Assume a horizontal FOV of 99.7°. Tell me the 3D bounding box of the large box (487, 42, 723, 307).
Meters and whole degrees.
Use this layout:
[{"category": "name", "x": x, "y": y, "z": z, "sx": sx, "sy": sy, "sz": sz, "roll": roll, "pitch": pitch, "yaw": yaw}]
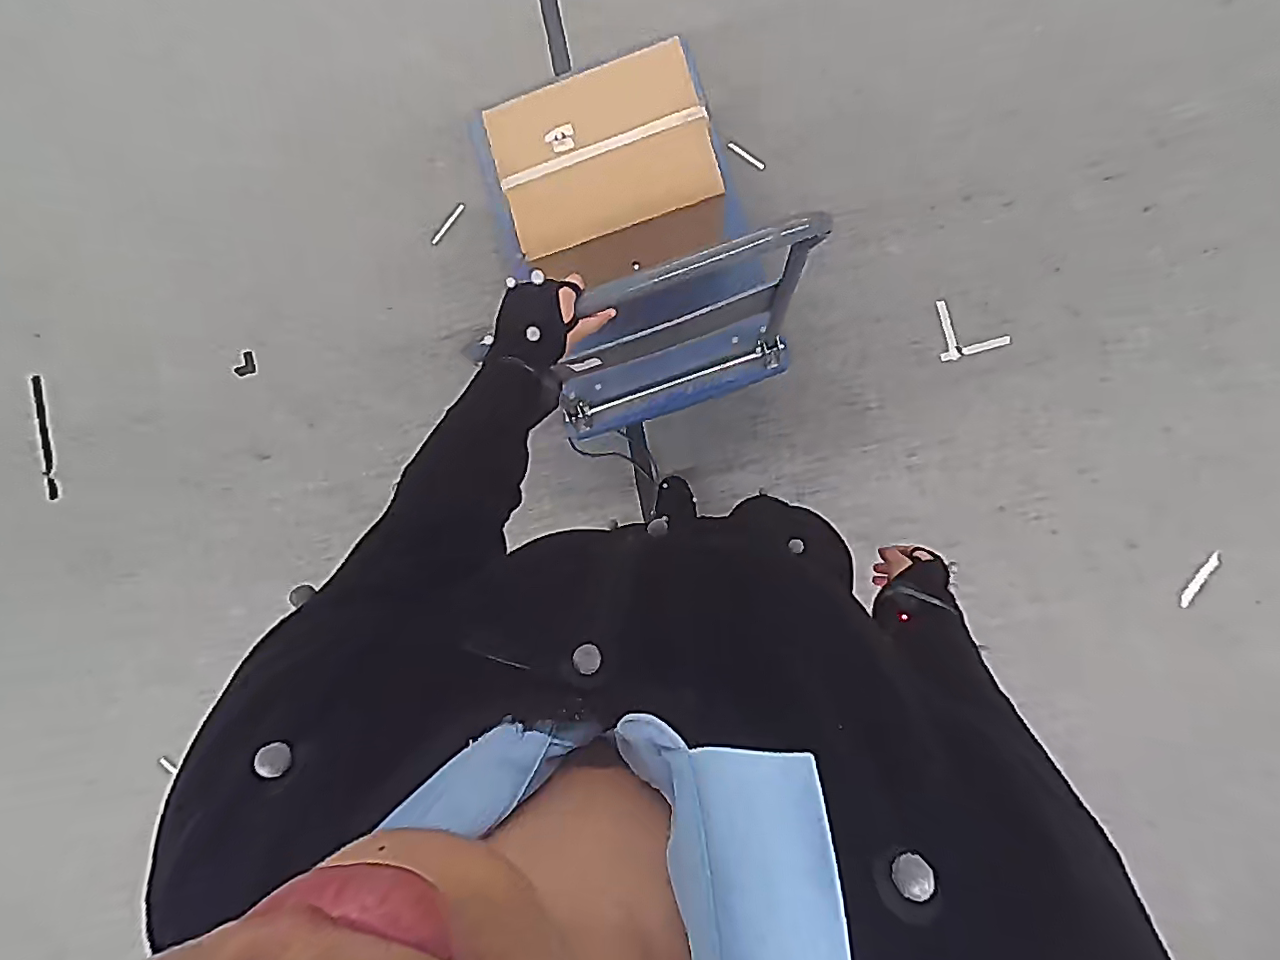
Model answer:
[{"category": "large box", "x": -0.054, "y": -0.631, "z": 1.192, "sx": 0.408, "sy": 0.320, "sz": 0.320, "roll": -17, "pitch": 87, "yaw": 8}]
